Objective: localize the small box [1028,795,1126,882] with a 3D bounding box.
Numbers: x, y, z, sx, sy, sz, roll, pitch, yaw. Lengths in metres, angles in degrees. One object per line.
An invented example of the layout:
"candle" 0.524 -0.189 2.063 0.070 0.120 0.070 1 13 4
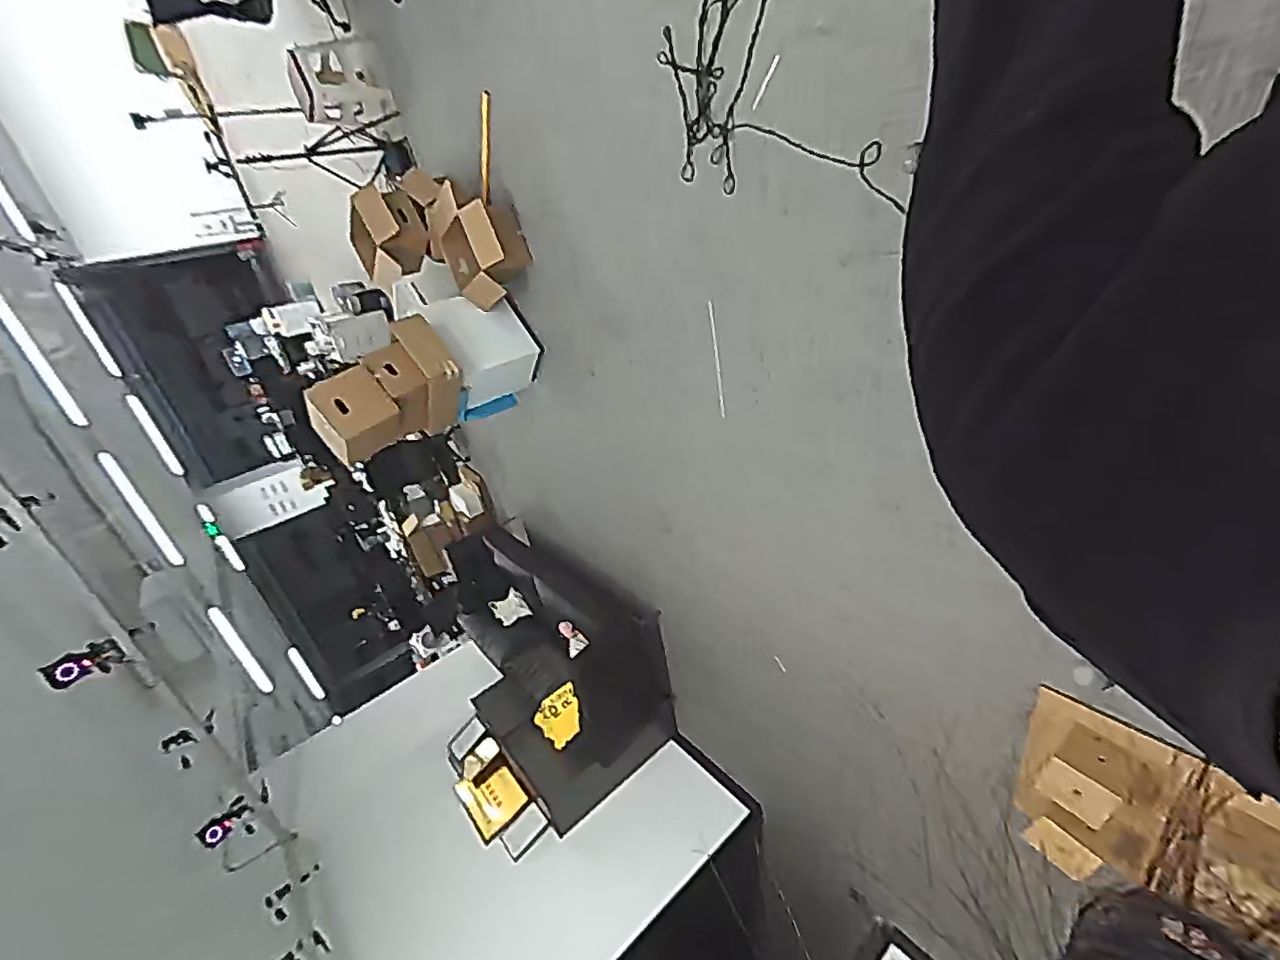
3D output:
"small box" 1.358 1.085 1.677 0.168 0.176 0.179 36 143 37

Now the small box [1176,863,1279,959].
"small box" 1.565 1.173 1.430 0.179 0.176 0.168 5 119 57

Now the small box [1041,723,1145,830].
"small box" 1.304 0.844 1.554 0.168 0.176 0.179 31 139 43
